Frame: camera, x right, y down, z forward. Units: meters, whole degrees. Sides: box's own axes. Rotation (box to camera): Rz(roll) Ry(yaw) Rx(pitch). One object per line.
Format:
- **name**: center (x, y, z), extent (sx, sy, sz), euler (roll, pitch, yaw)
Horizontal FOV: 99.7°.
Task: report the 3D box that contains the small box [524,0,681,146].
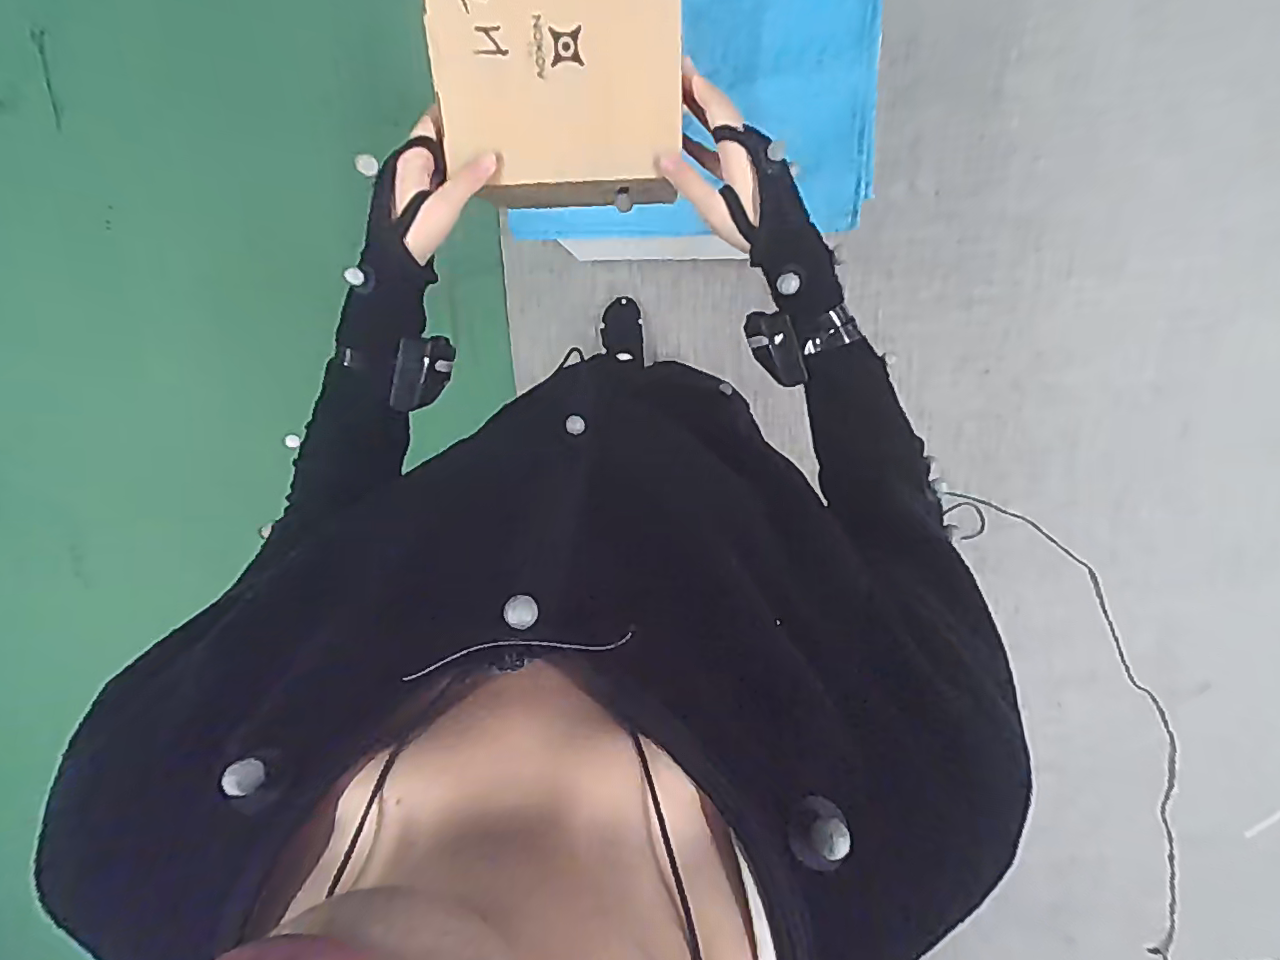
- **small box**: center (-0.039, -0.543, 0.681), extent (0.179, 0.176, 0.168), euler (-1, 103, 4)
